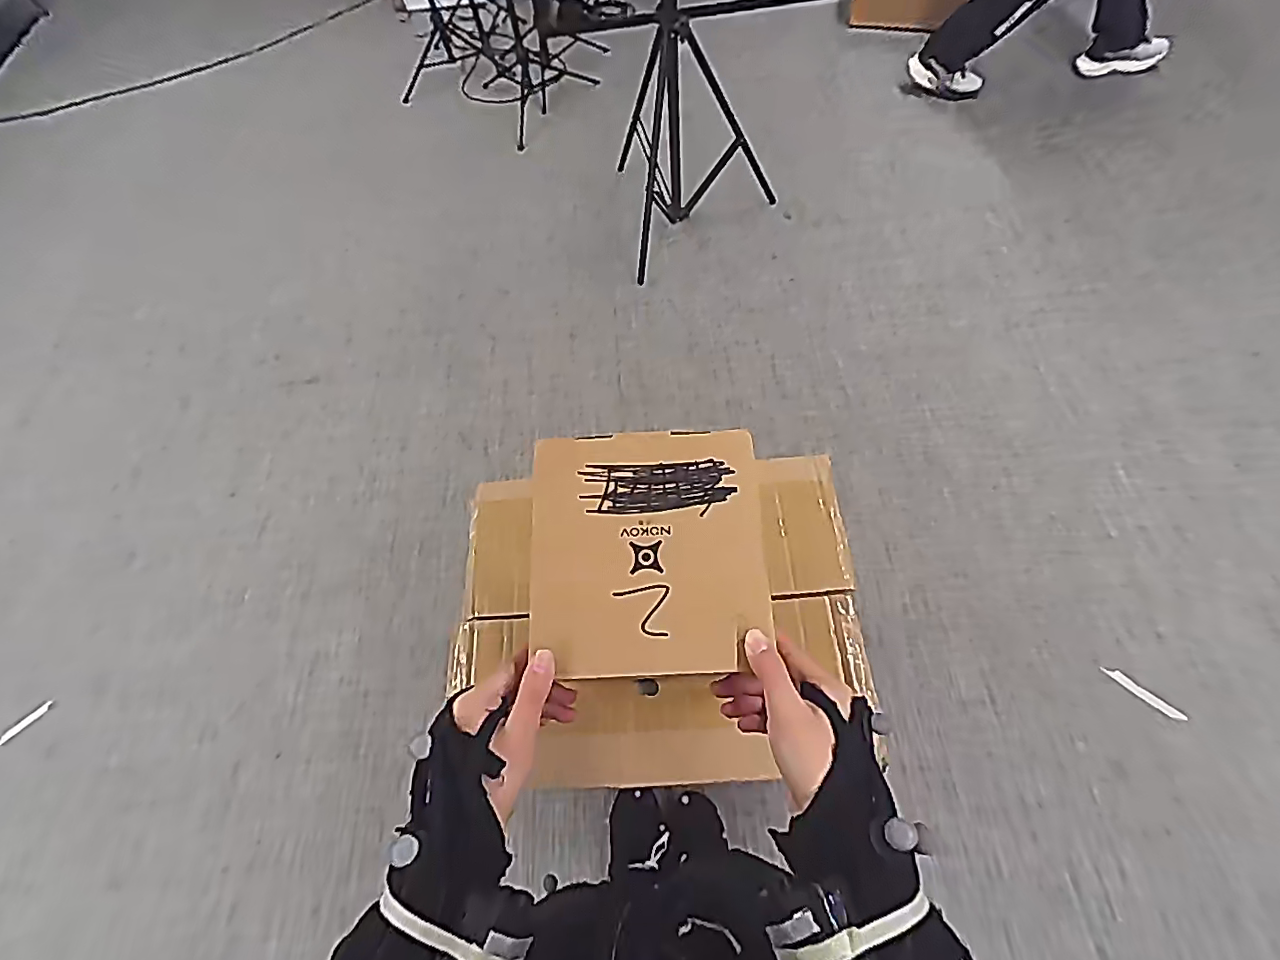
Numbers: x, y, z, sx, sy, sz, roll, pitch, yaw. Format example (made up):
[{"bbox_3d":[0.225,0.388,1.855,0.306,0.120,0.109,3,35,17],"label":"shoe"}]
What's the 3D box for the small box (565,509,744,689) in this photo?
[{"bbox_3d":[0.018,0.144,0.623,0.179,0.176,0.168,-4,64,3],"label":"small box"}]
